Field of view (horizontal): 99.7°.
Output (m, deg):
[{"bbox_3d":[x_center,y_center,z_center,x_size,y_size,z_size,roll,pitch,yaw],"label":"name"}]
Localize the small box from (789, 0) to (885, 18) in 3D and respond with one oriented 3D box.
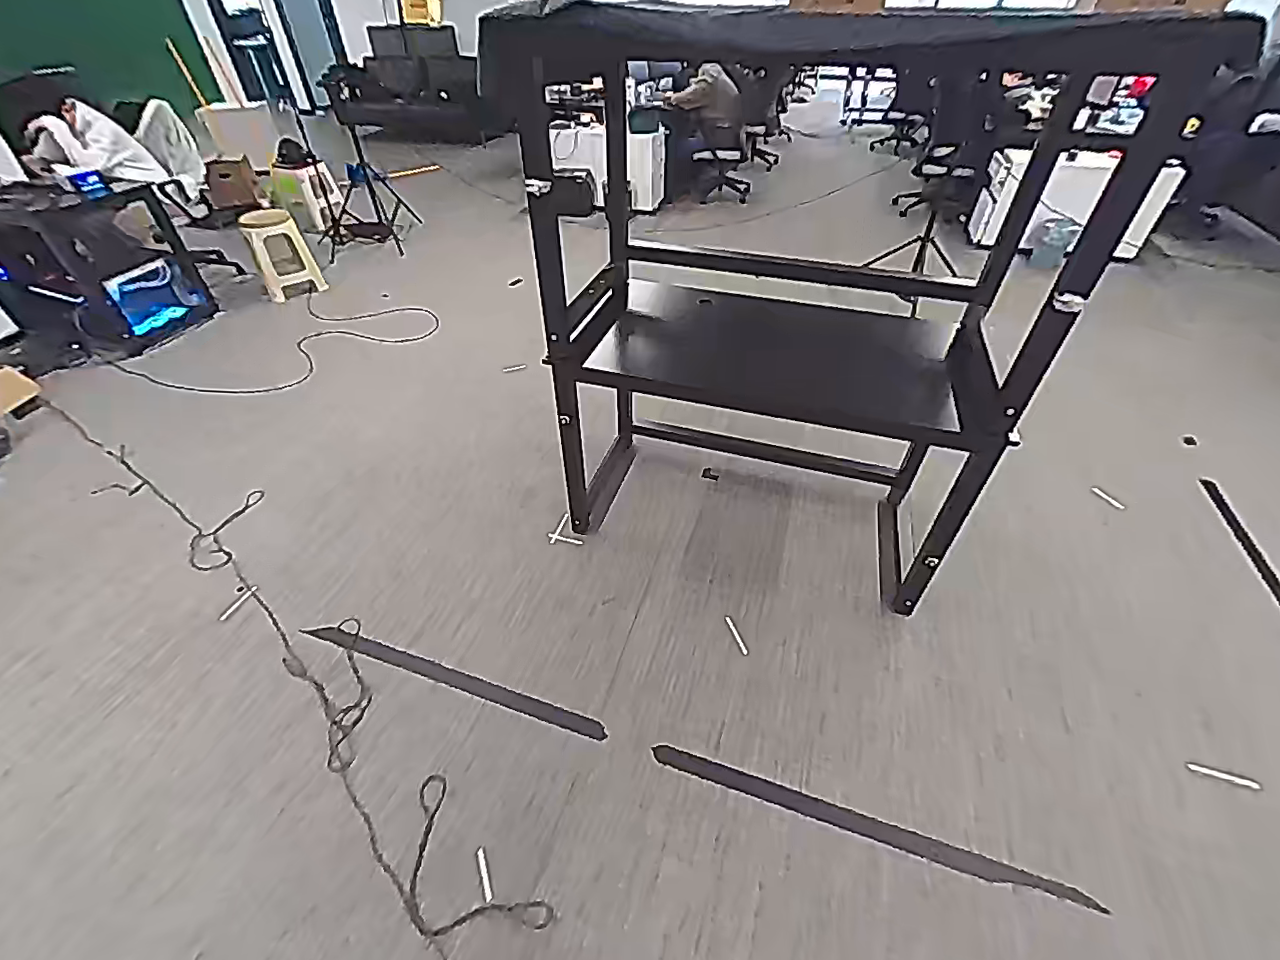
[{"bbox_3d":[0.365,-0.933,0.955,0.168,0.176,0.179,12,42,13],"label":"small box"}]
